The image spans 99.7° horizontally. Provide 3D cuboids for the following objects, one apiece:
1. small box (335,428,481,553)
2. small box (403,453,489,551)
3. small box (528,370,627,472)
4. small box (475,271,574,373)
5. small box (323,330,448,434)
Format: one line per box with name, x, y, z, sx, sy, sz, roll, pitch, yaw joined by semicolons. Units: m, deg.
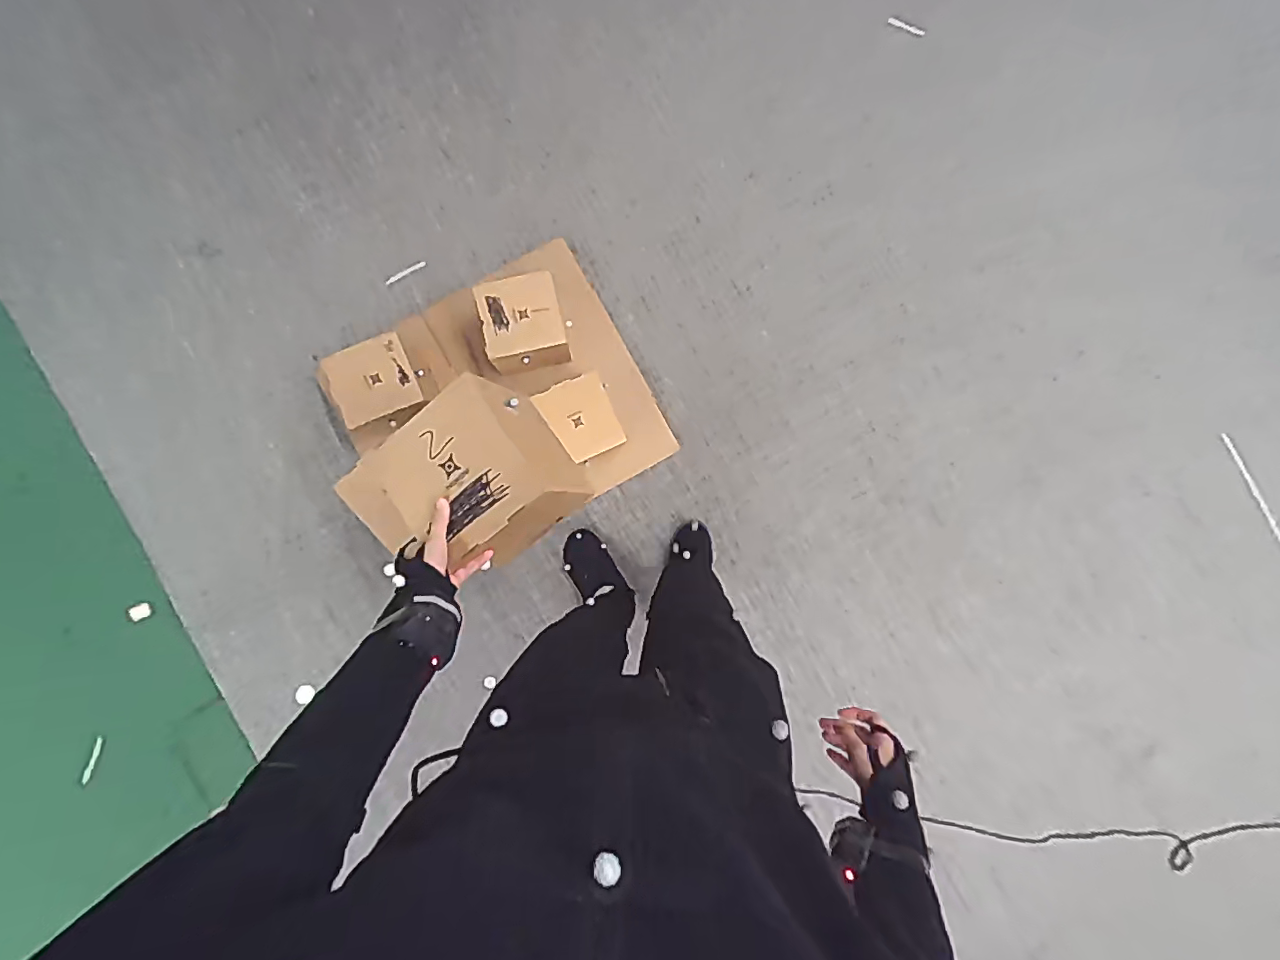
small box;-0.446;0.022;1.069;0.168;0.176;0.179;-41;91;-2
small box;-0.465;0.043;1.232;0.168;0.176;0.179;-23;90;-3
small box;-0.136;-0.128;1.244;0.168;0.176;0.179;-24;90;-3
small box;-0.257;-0.354;1.240;0.179;0.176;0.168;-13;90;-4
small box;-0.570;-0.214;1.230;0.179;0.176;0.168;-22;90;-2
